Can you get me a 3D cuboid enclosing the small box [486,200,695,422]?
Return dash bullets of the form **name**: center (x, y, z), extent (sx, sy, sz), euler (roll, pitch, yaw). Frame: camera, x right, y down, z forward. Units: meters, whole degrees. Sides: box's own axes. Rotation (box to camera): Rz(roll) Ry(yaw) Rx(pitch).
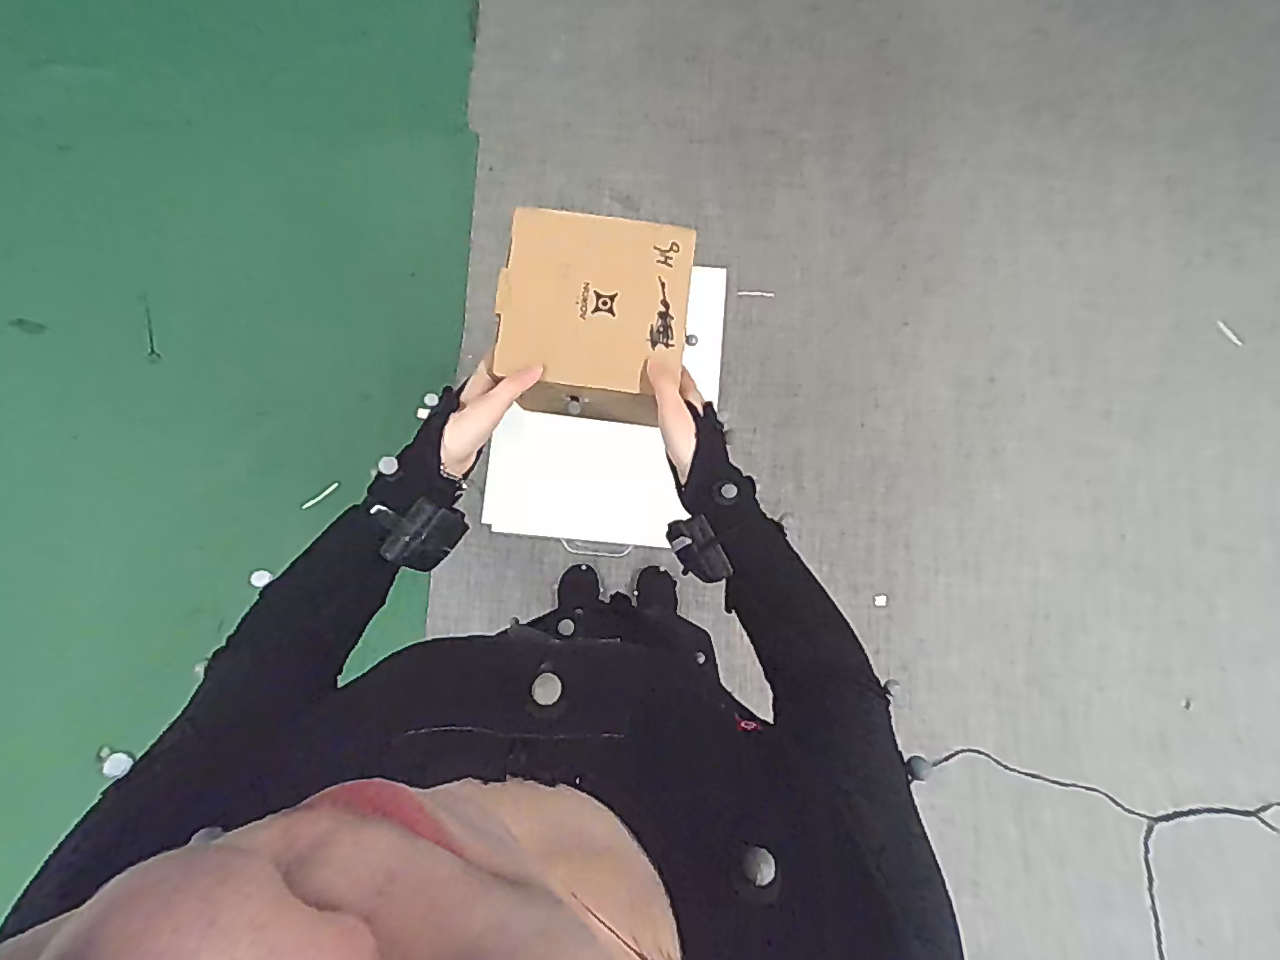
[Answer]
- **small box**: center (-0.047, -0.164, 0.578), extent (0.179, 0.176, 0.168), euler (7, 85, -2)
